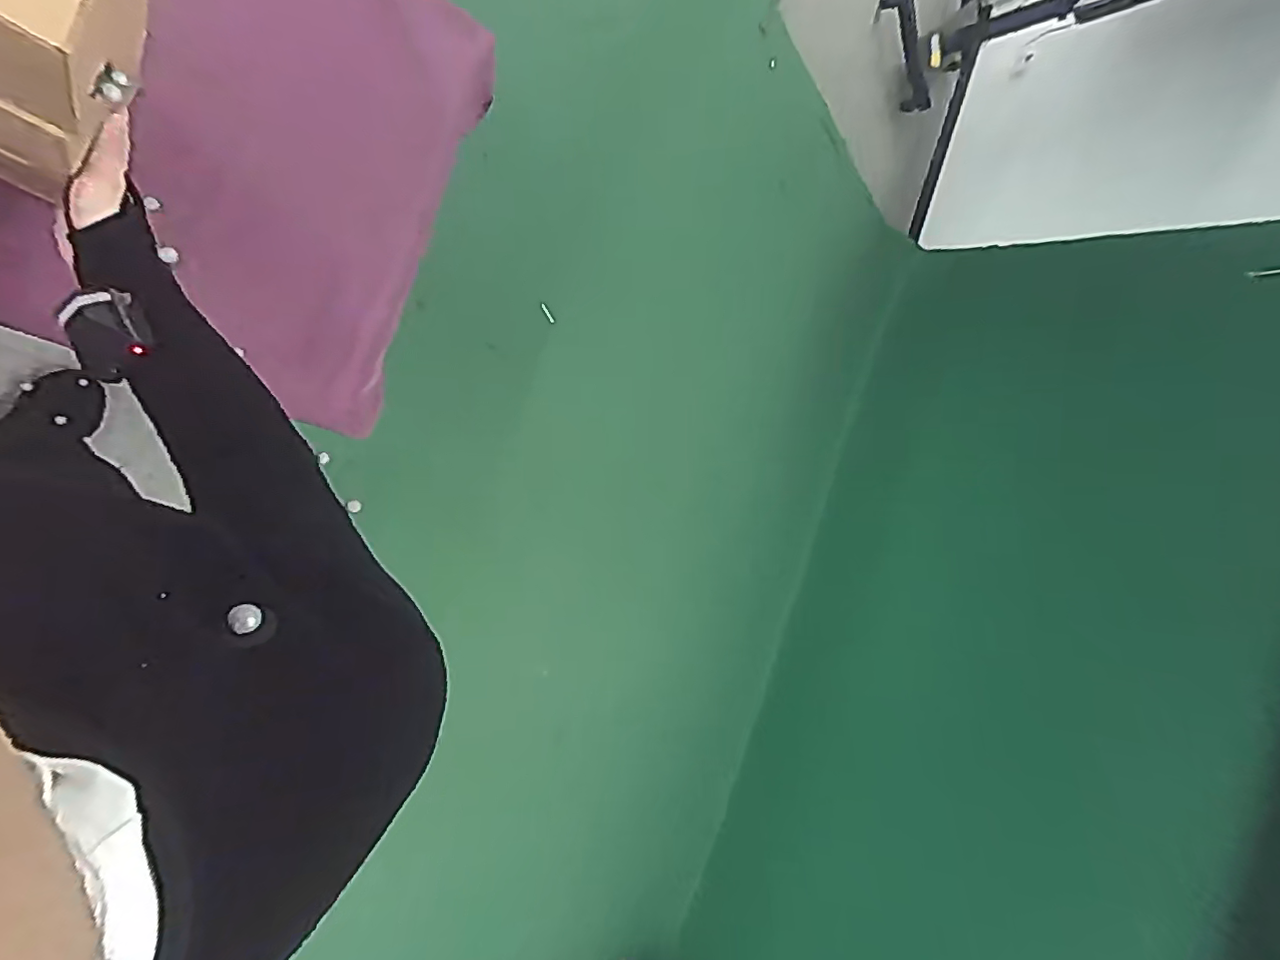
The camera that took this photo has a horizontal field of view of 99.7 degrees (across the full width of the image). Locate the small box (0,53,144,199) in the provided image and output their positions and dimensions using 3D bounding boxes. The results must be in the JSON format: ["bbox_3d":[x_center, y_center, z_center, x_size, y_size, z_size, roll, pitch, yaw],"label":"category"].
[{"bbox_3d":[-0.593,-0.383,0.486,0.179,0.176,0.168,25,84,-46],"label":"small box"}]

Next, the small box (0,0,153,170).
[{"bbox_3d":[-0.478,-0.351,0.374,0.179,0.176,0.168,22,86,-45],"label":"small box"}]

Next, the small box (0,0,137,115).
[{"bbox_3d":[-0.361,-0.318,0.263,0.179,0.176,0.168,20,88,-46],"label":"small box"}]
